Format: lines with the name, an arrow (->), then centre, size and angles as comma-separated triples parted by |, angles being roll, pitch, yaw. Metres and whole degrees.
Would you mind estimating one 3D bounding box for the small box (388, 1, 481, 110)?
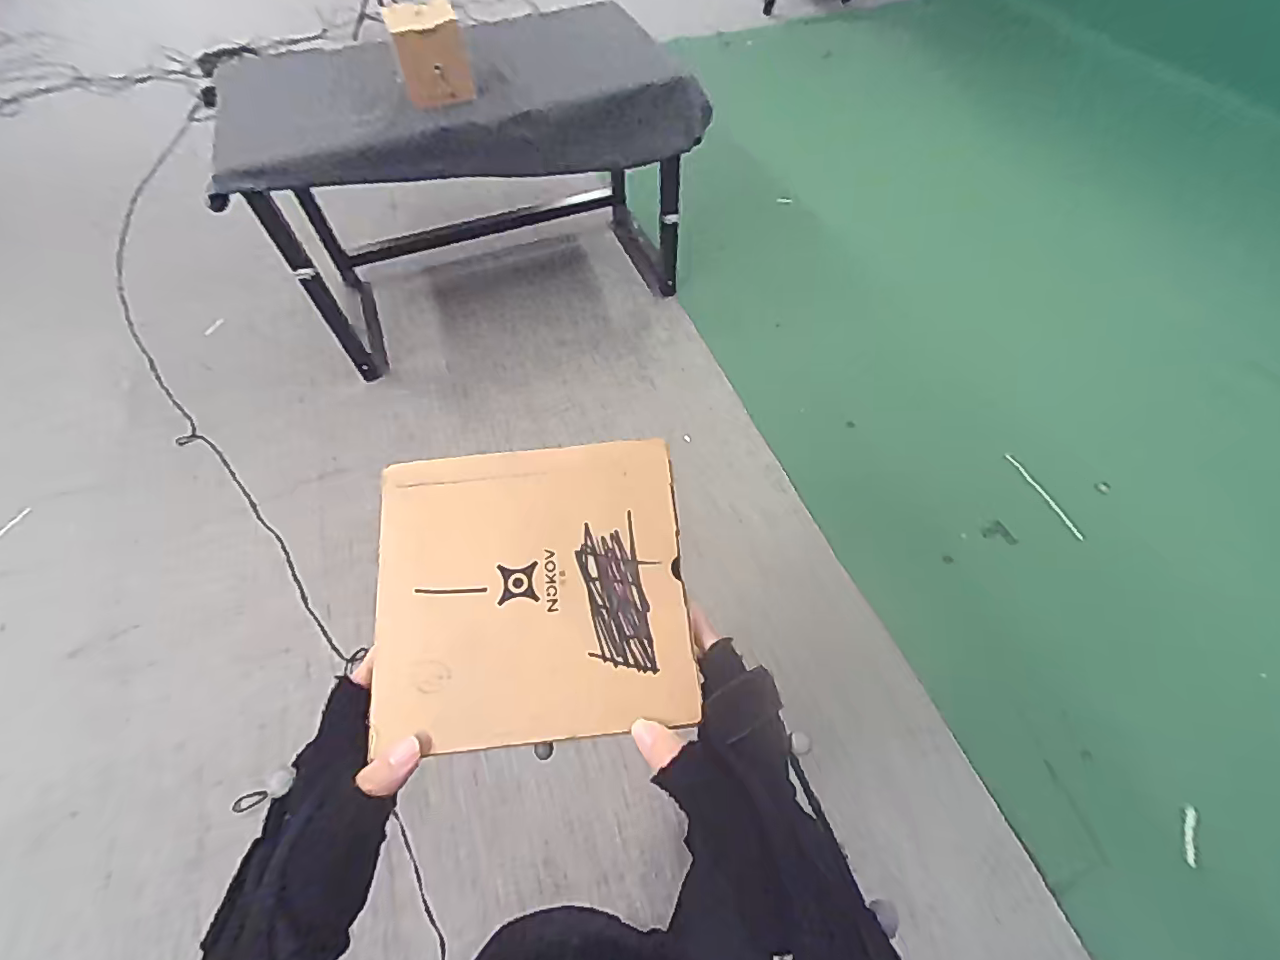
small box -> -0.519, -1.074, 1.381 | 0.168, 0.176, 0.179 | -19, 59, -10
